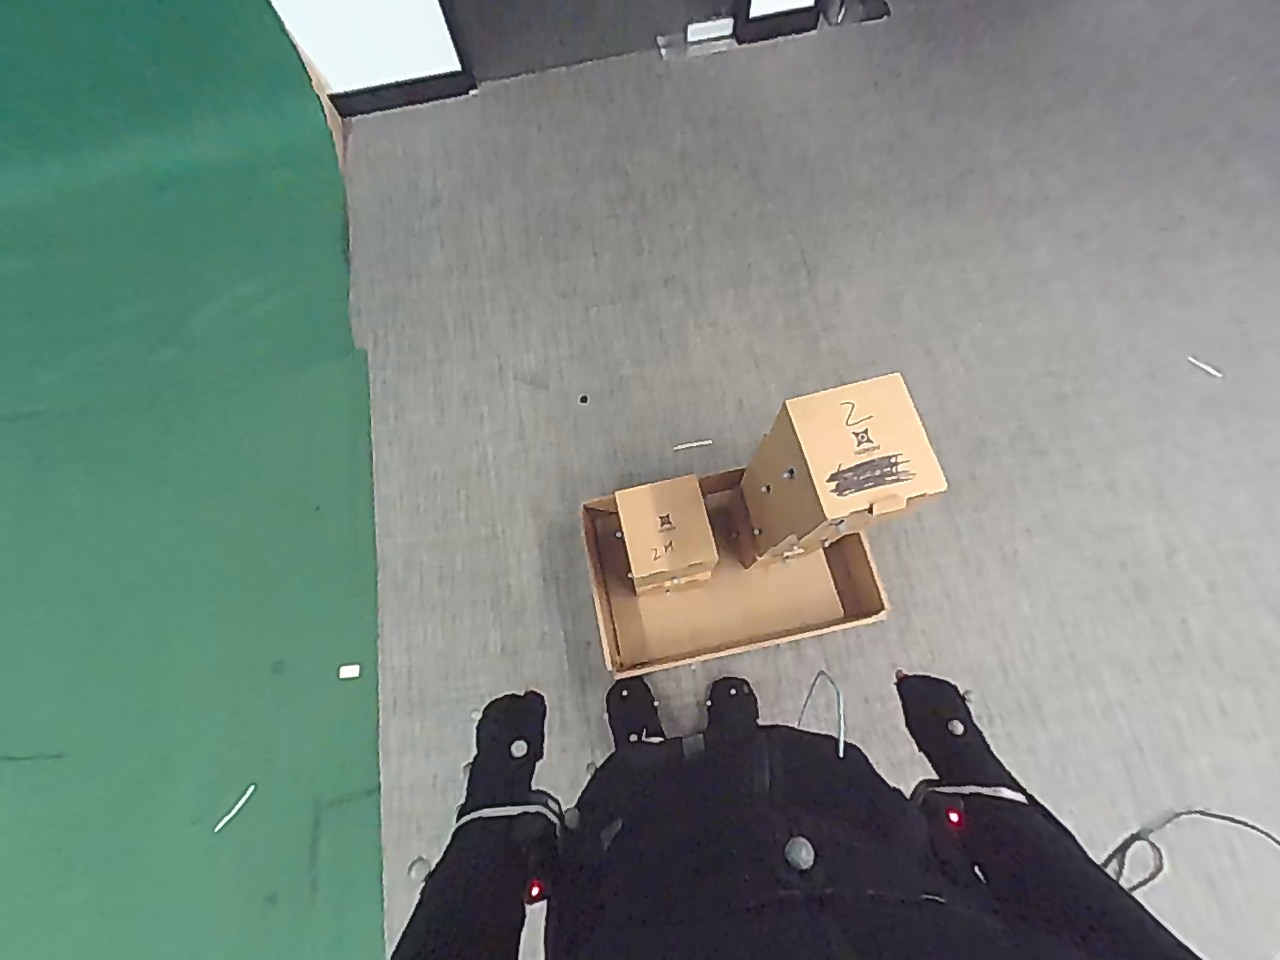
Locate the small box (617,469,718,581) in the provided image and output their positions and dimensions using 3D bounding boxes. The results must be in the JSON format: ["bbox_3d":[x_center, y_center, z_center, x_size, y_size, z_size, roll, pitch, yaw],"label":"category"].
[{"bbox_3d":[0.051,0.097,1.104,0.168,0.176,0.179,-13,74,-2],"label":"small box"}]

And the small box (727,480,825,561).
[{"bbox_3d":[0.312,0.085,1.269,0.168,0.176,0.179,-17,74,0],"label":"small box"}]

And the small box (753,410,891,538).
[{"bbox_3d":[0.307,-0.001,0.952,0.168,0.176,0.179,-11,74,-1],"label":"small box"}]

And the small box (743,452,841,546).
[{"bbox_3d":[0.316,0.032,1.096,0.168,0.176,0.179,-12,74,0],"label":"small box"}]
